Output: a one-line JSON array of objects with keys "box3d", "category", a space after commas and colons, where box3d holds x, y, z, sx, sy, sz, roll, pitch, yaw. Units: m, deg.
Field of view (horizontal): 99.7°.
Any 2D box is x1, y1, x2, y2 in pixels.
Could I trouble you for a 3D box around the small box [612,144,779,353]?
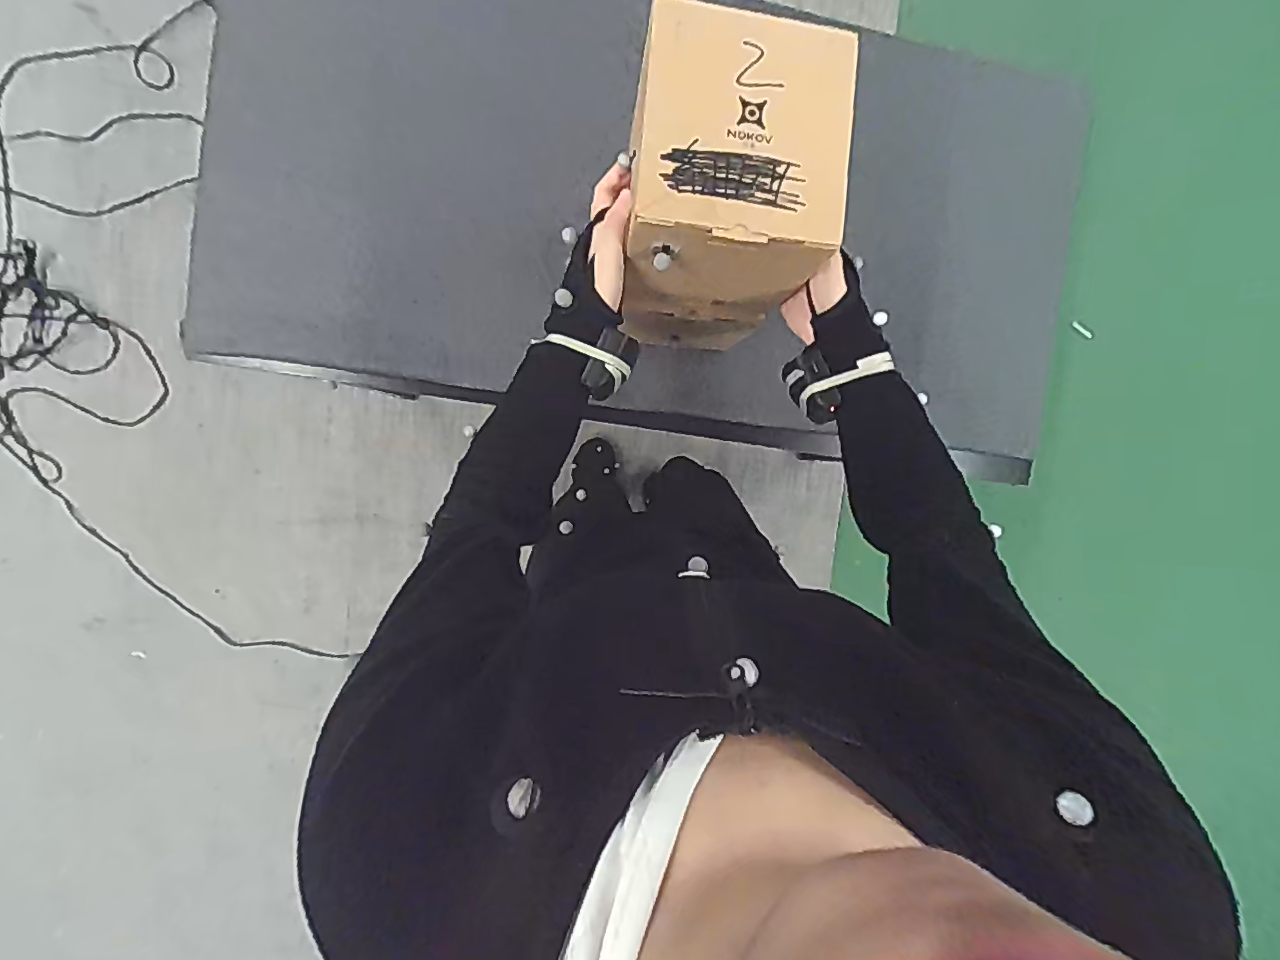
[{"box3d": [0.056, -0.265, 0.660, 0.168, 0.176, 0.179, 4, 92, -6], "category": "small box"}]
